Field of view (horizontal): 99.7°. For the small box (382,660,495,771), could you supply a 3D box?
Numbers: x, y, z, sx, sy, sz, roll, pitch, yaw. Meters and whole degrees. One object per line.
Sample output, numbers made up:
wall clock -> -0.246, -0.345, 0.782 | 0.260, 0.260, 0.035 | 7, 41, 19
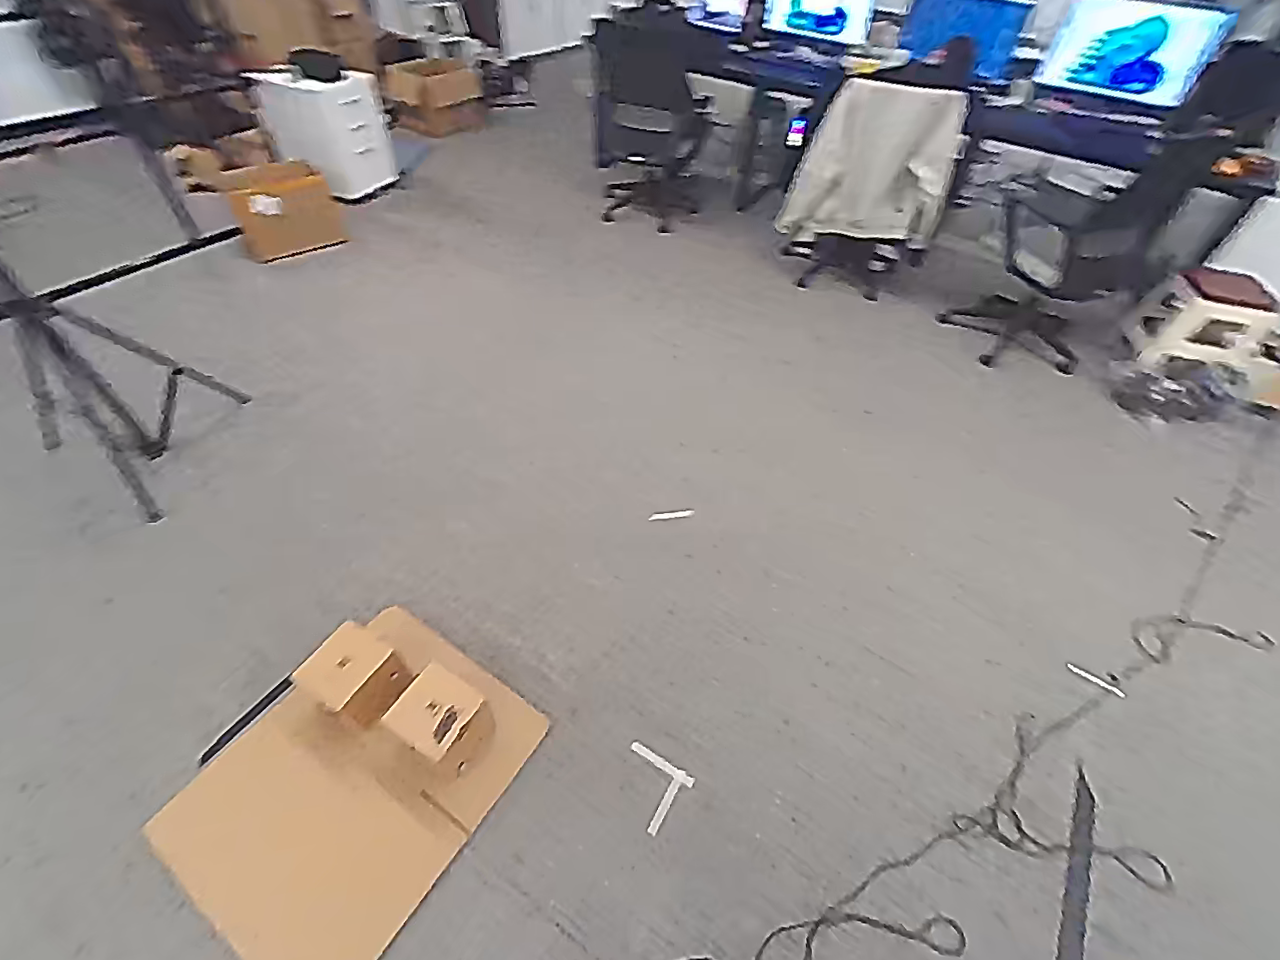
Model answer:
small box -> -0.474, 0.573, 1.302 | 0.179, 0.176, 0.168 | 25, 52, 17

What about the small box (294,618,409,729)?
small box -> -0.712, 0.489, 1.362 | 0.168, 0.176, 0.179 | 22, 52, 16
